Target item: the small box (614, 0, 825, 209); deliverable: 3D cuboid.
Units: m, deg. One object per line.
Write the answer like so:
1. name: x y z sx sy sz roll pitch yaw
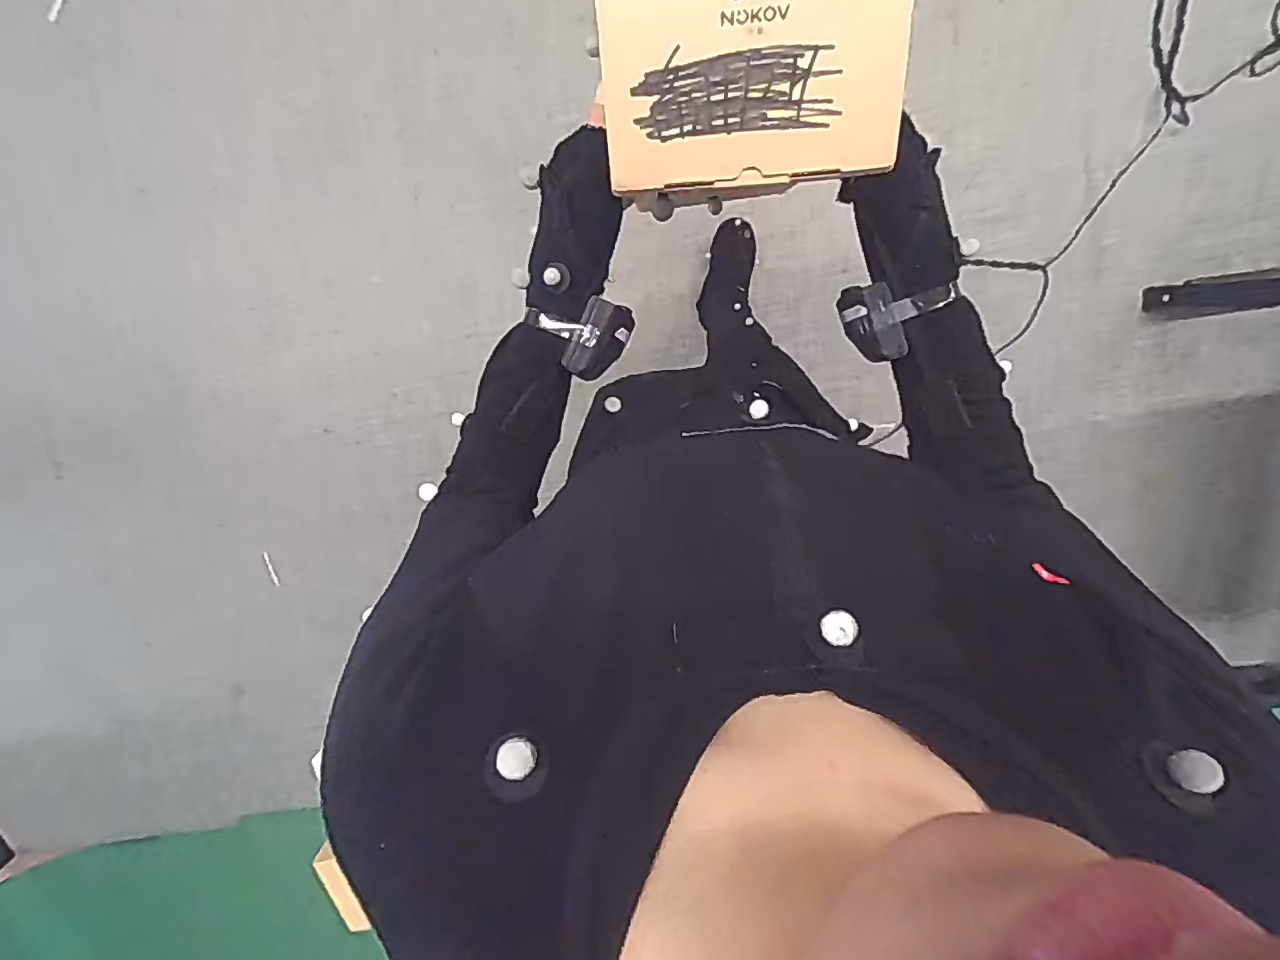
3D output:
1. small box: 0.068 -0.369 0.507 0.168 0.176 0.179 -5 110 5
